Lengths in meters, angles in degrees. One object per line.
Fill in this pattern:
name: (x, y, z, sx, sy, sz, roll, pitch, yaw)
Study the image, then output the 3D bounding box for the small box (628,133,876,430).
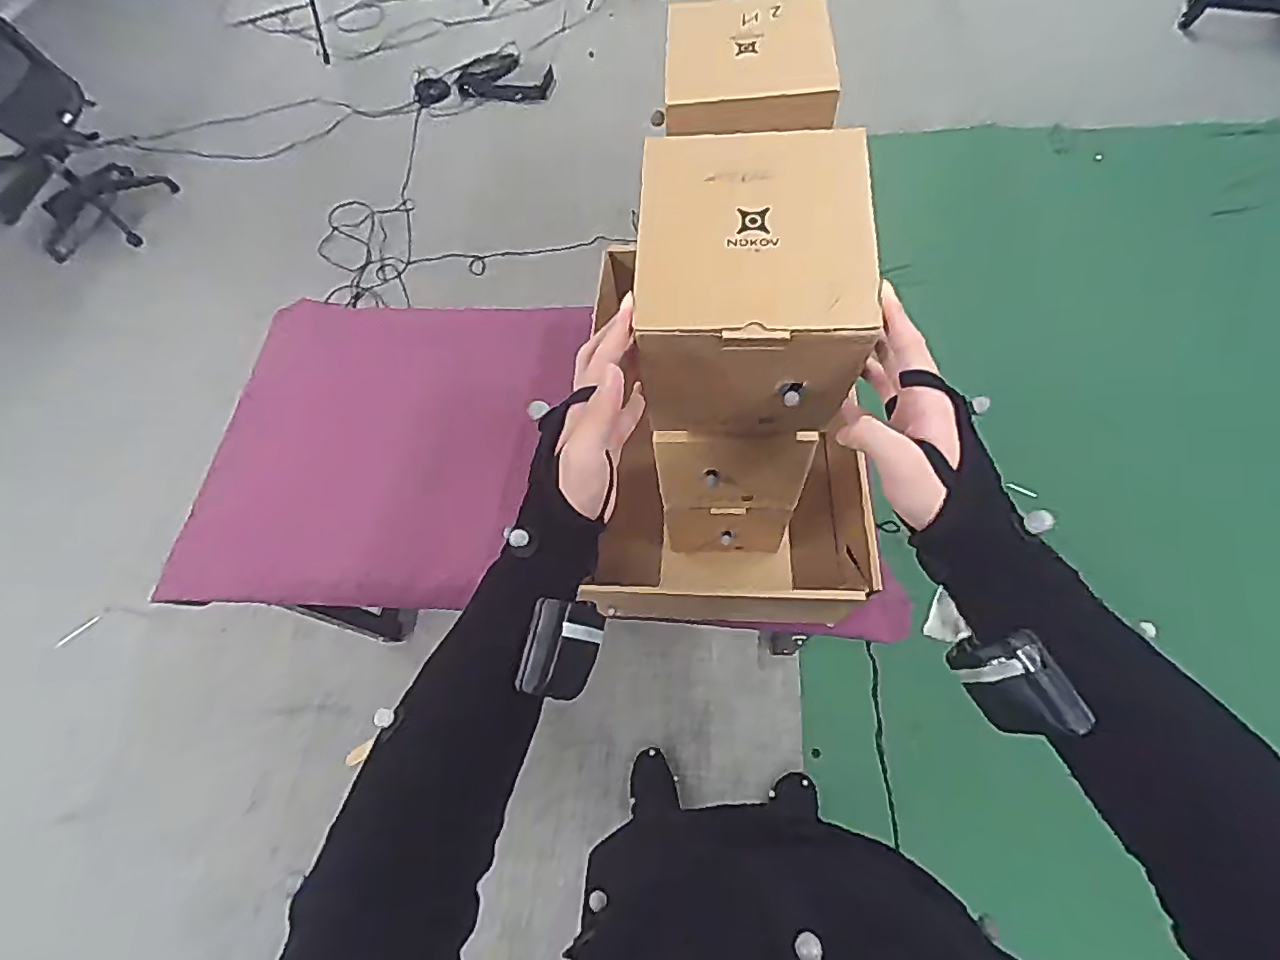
small box: (0.086, -0.151, 0.458, 0.168, 0.176, 0.179, 1, 72, 6)

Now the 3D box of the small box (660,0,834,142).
small box: (0.115, -0.399, 0.615, 0.168, 0.176, 0.179, 0, 65, 6)

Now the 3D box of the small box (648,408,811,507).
small box: (0.105, -0.075, 0.647, 0.168, 0.176, 0.179, 0, 62, 7)
